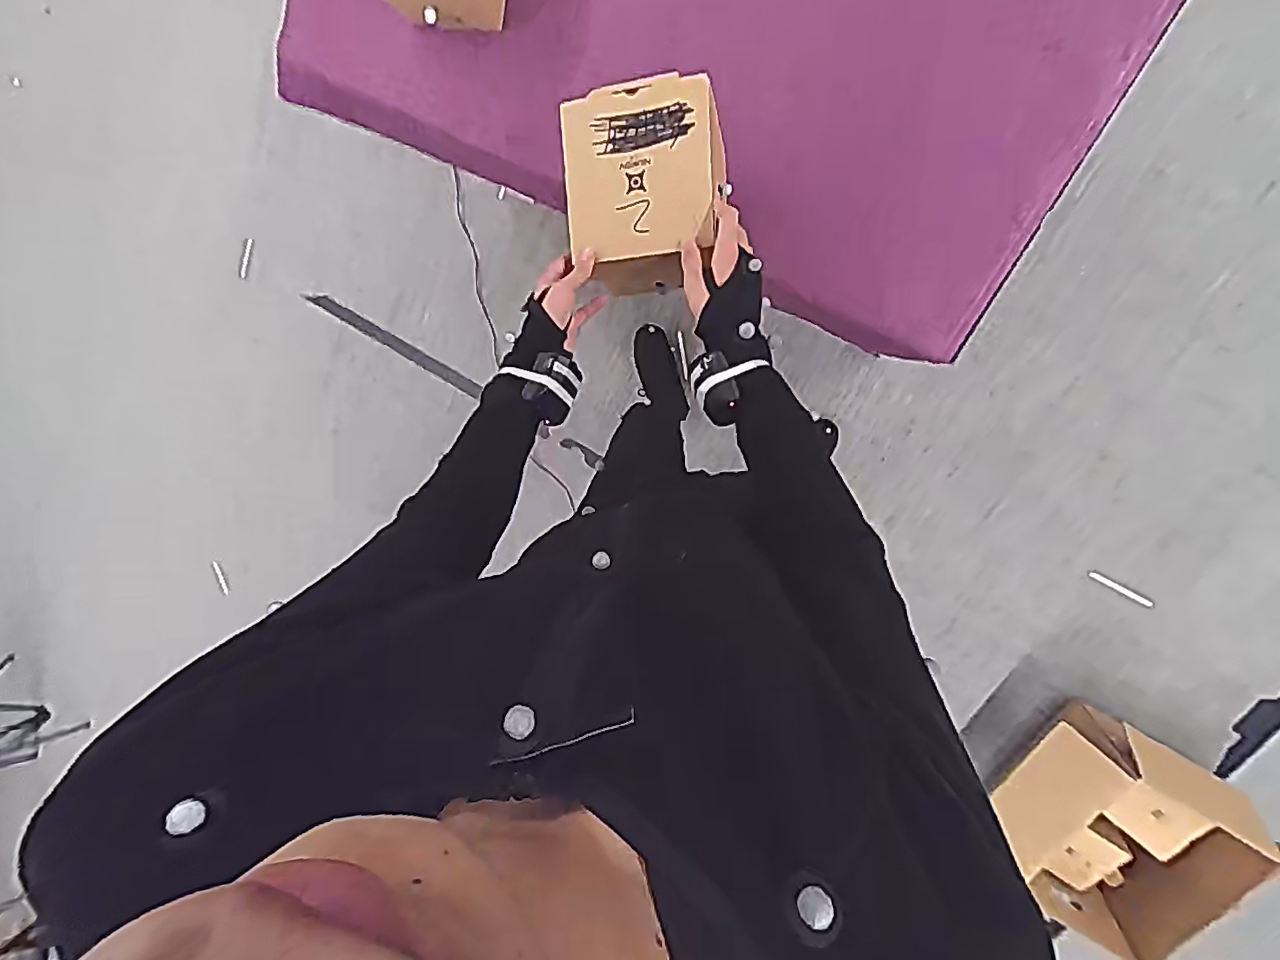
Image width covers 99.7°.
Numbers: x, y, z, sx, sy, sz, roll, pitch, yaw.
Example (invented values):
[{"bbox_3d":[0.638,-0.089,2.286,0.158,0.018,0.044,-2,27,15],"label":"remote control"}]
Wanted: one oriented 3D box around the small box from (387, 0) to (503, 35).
[{"bbox_3d":[-0.288,-0.749,0.723,0.168,0.176,0.179,16,107,14],"label":"small box"}]
